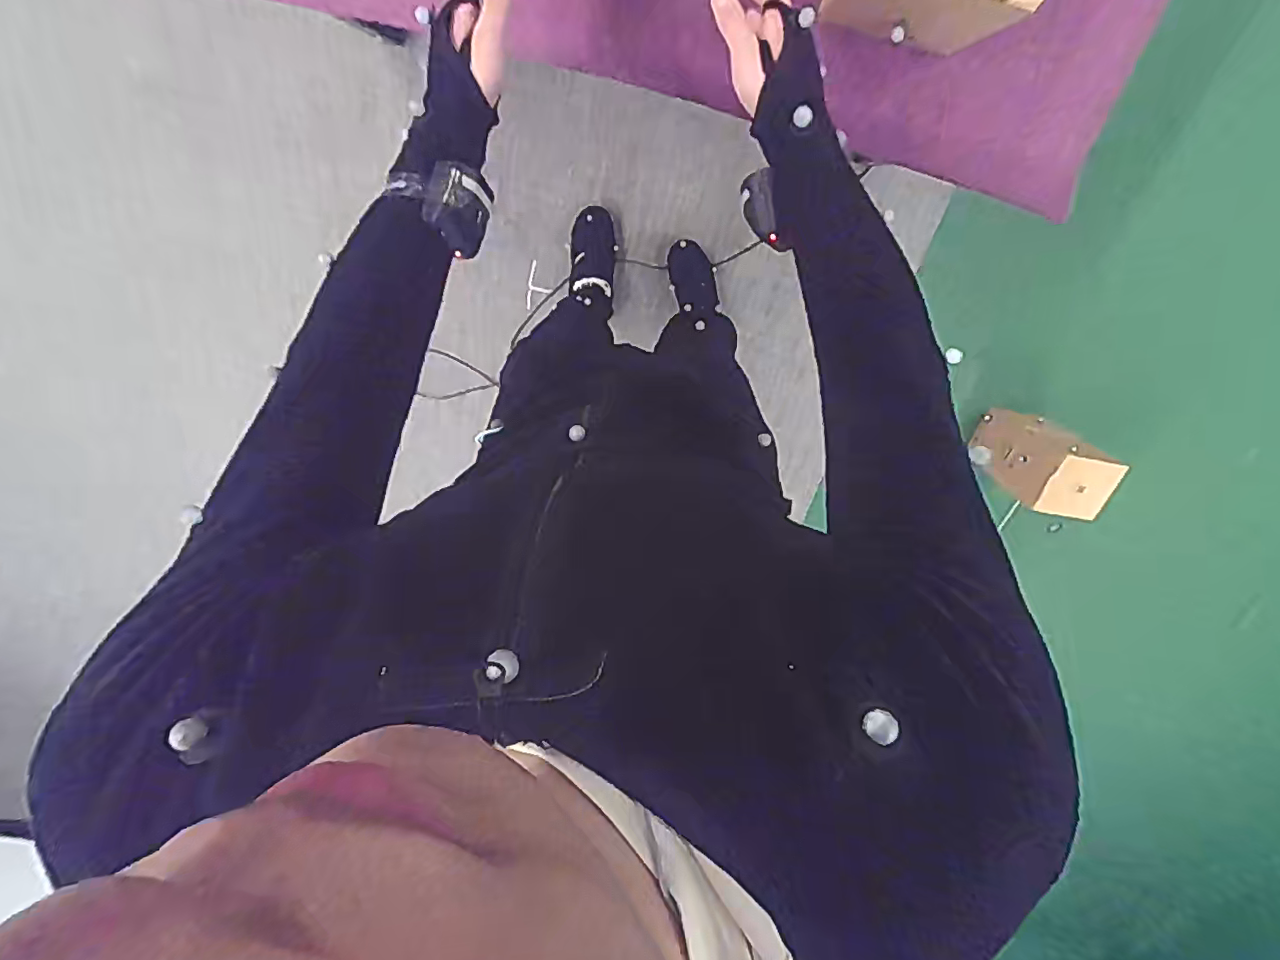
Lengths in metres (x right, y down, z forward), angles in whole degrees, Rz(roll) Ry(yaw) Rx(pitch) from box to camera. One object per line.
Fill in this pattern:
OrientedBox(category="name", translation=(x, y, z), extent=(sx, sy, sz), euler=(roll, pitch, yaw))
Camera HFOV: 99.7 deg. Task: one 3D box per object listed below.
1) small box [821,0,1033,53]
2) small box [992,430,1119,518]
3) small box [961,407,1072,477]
OrientedBox(category="small box", translation=(0.296, -0.554, 0.521), extent=(0.168, 0.176, 0.179), euler=(12, 117, -5))
OrientedBox(category="small box", translation=(1.102, -0.021, 1.451), extent=(0.179, 0.176, 0.168), euler=(9, 119, -4))
OrientedBox(category="small box", translation=(1.095, -0.103, 1.591), extent=(0.179, 0.176, 0.168), euler=(10, 118, -6))
